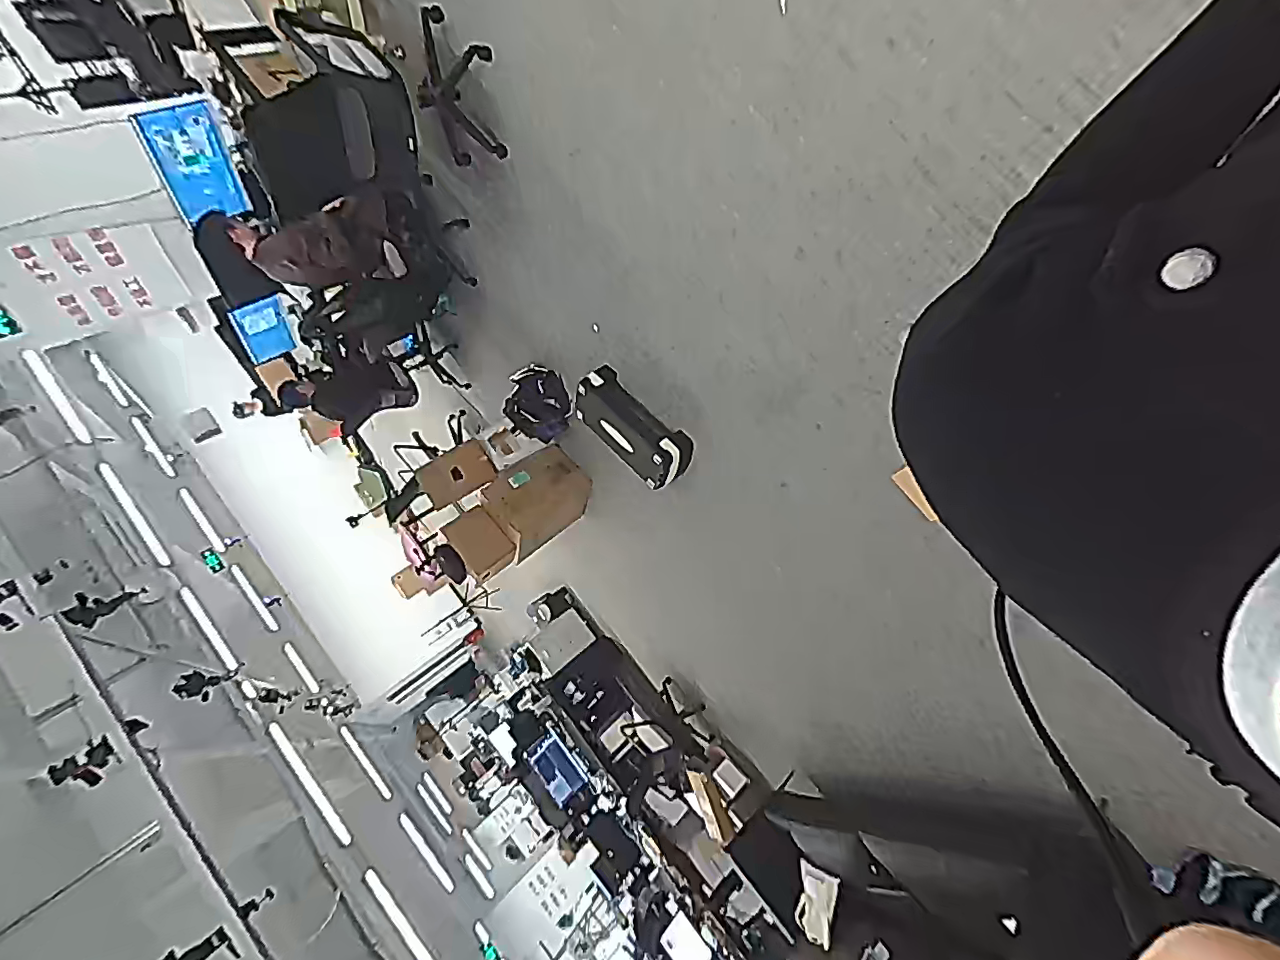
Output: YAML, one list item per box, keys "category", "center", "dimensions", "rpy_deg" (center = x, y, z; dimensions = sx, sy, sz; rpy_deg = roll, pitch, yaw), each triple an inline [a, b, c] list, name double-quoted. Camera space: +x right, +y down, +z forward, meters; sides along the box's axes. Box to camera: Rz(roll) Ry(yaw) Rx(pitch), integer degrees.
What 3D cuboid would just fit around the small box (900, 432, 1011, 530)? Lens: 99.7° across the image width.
- category: "small box"
  center: [0.848, 0.000, 1.446]
  dimensions: [0.168, 0.176, 0.179]
  rpy_deg: [51, 152, 10]
